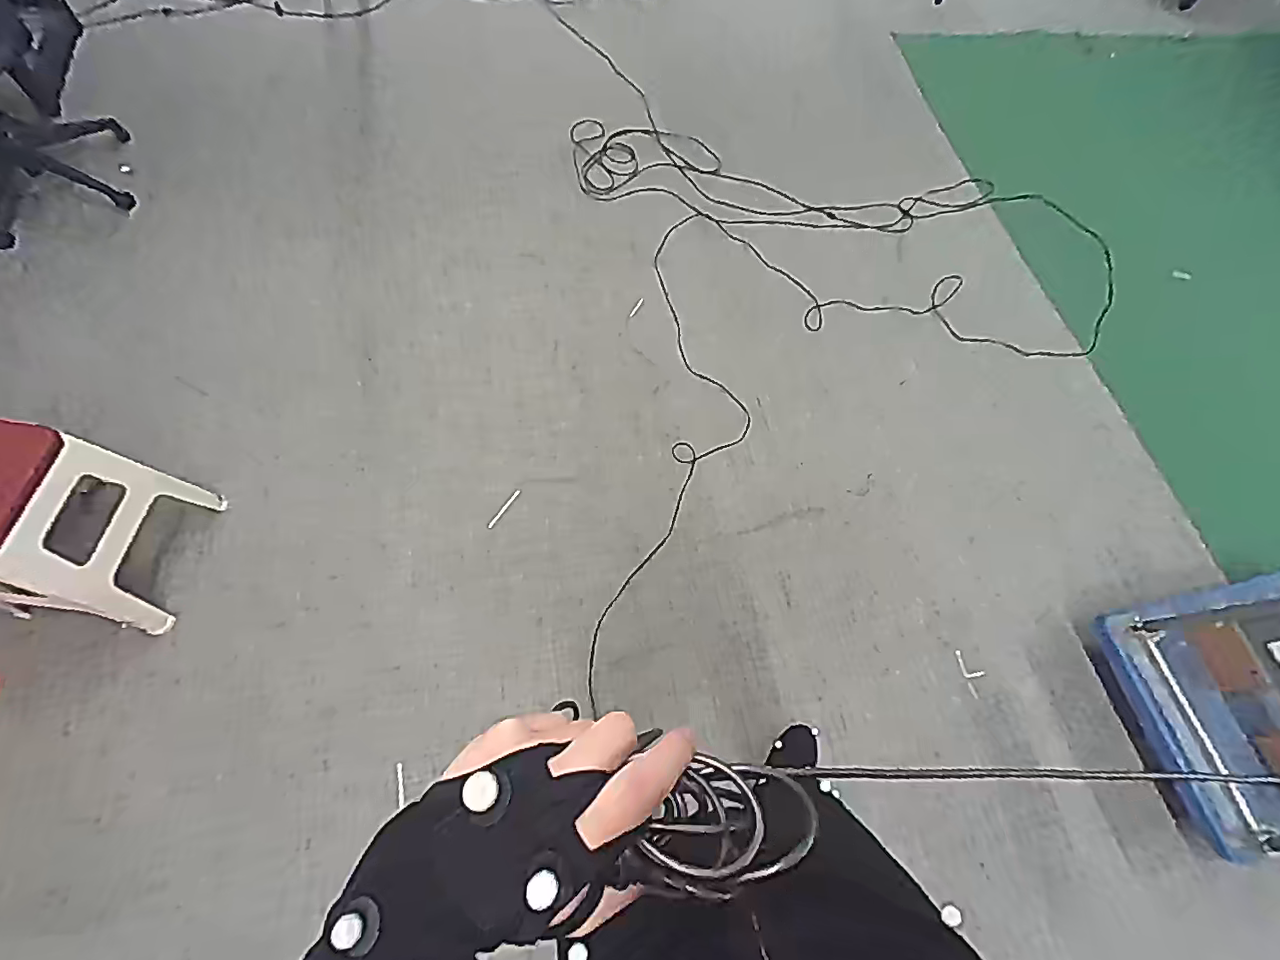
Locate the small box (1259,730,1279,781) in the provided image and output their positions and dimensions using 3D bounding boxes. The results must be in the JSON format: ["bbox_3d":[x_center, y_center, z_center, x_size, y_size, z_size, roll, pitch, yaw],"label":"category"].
[{"bbox_3d":[1.629,0.665,1.248,0.179,0.176,0.168,-9,67,-8],"label":"small box"}]
